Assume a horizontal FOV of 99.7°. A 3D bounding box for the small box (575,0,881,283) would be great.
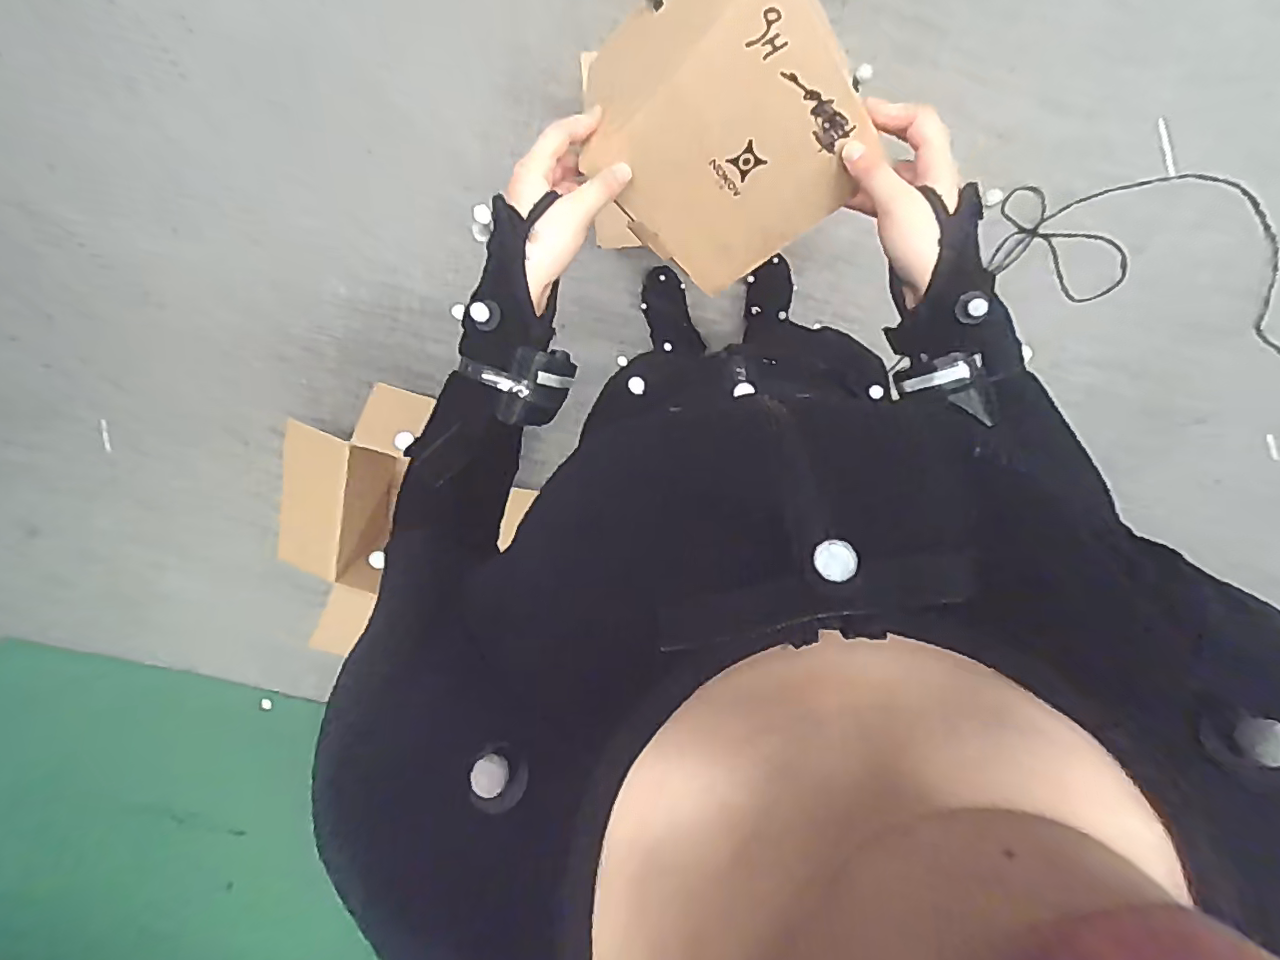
[{"bbox_3d":[0.070,-0.314,0.452,0.179,0.176,0.168,-26,139,36],"label":"small box"}]
